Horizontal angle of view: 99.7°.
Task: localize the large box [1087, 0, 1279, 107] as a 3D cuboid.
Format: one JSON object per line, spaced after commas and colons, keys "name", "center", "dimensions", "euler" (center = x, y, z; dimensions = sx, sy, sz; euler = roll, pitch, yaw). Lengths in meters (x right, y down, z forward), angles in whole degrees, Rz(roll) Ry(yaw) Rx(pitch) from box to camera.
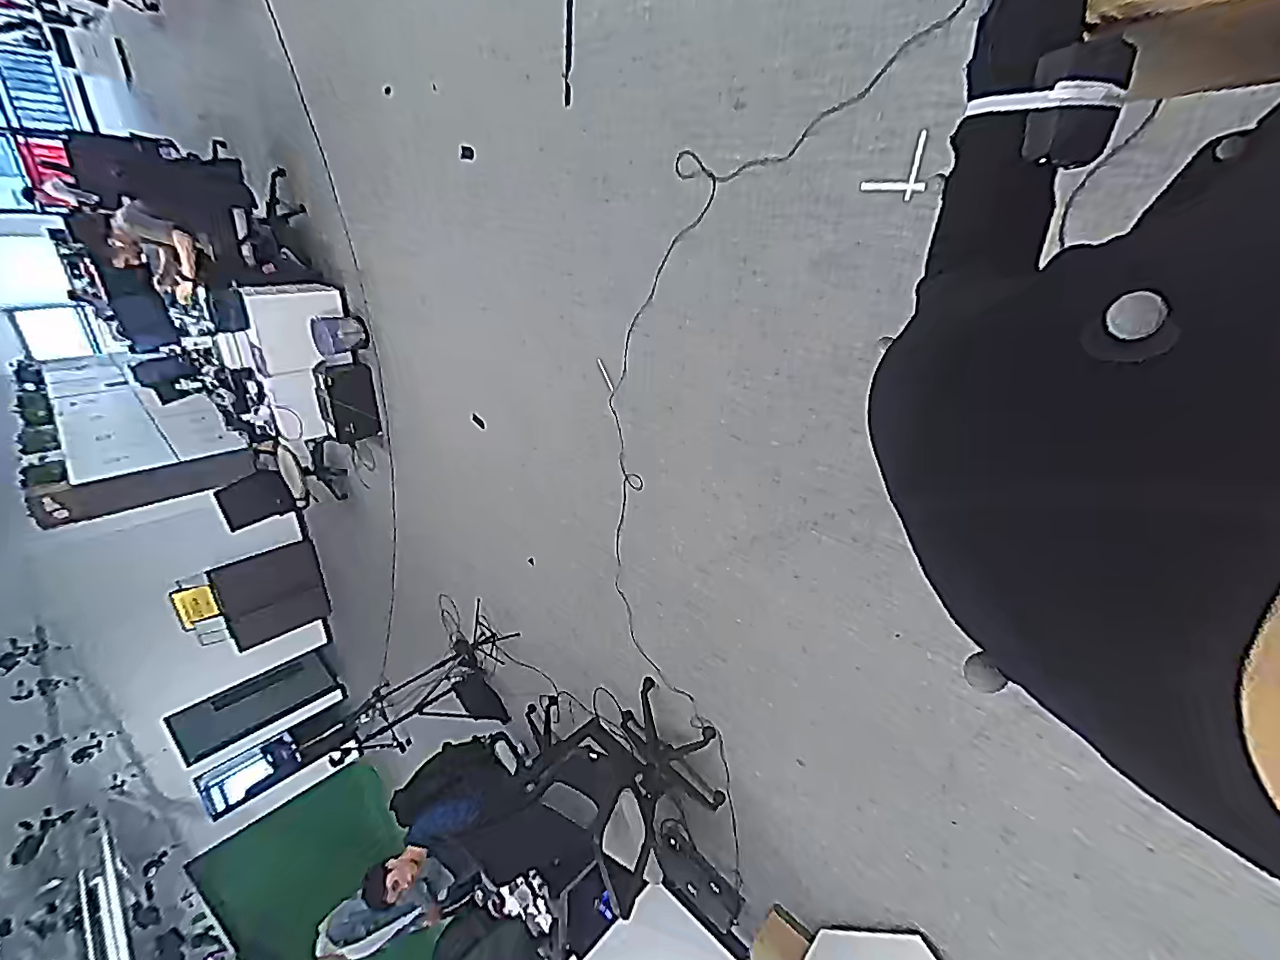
{"name": "large box", "center": [0.525, -0.427, 0.272], "dimensions": [0.408, 0.320, 0.320], "euler": [18, 121, 37]}
